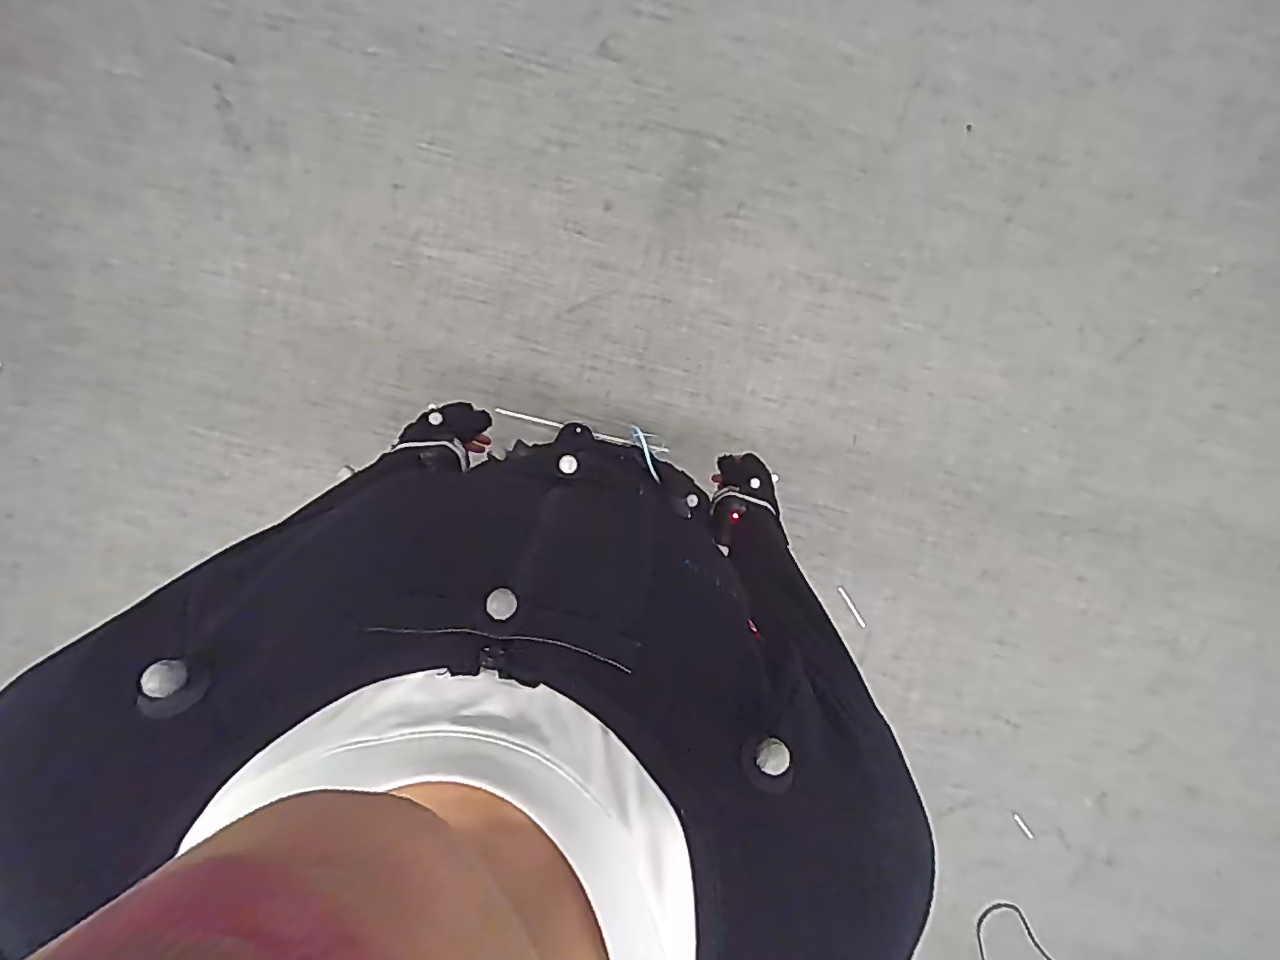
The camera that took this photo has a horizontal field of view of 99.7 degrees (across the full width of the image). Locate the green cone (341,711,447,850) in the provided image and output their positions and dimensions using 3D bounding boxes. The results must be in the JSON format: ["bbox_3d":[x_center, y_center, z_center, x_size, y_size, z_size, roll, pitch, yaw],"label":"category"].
[{"bbox_3d":[-0.654,0.782,1.370,0.202,0.368,0.200,12,96,-4],"label":"green cone"}]
